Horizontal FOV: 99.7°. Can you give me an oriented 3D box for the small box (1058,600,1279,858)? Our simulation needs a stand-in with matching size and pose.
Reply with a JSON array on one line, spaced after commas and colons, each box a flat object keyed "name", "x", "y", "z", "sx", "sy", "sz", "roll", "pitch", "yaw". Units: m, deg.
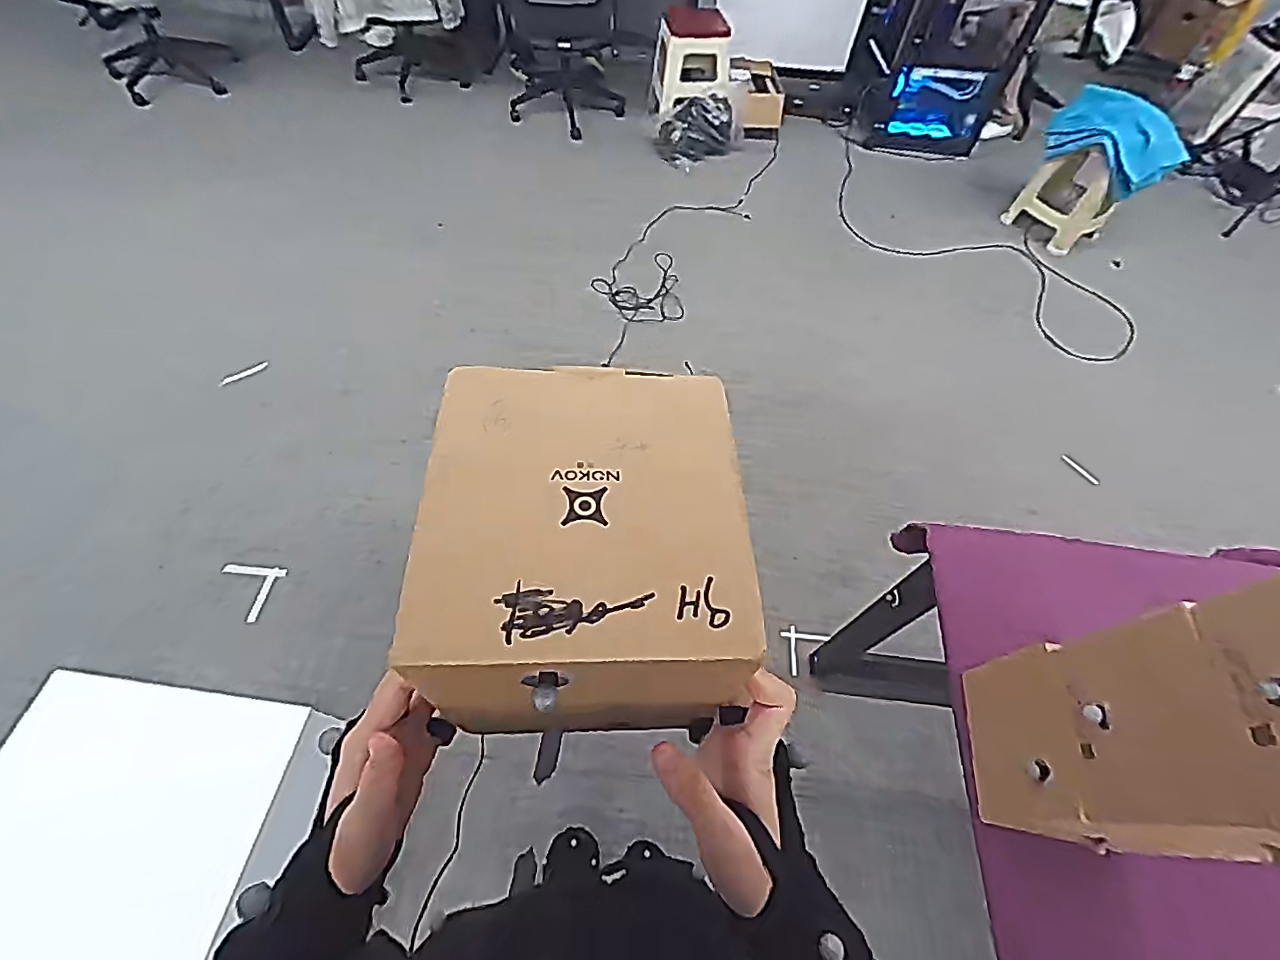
[{"name": "small box", "x": 0.523, "y": 0.223, "z": 0.471, "sx": 0.179, "sy": 0.176, "sz": 0.168, "roll": 9, "pitch": 58, "yaw": 4}]

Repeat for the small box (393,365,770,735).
[{"name": "small box", "x": -0.033, "y": 0.050, "z": 0.344, "sx": 0.168, "sy": 0.176, "sz": 0.179, "roll": 0, "pitch": 56, "yaw": -5}]

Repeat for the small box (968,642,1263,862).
[{"name": "small box", "x": 0.507, "y": 0.306, "z": 0.613, "sx": 0.168, "sy": 0.176, "sz": 0.179, "roll": 11, "pitch": 58, "yaw": 3}]
